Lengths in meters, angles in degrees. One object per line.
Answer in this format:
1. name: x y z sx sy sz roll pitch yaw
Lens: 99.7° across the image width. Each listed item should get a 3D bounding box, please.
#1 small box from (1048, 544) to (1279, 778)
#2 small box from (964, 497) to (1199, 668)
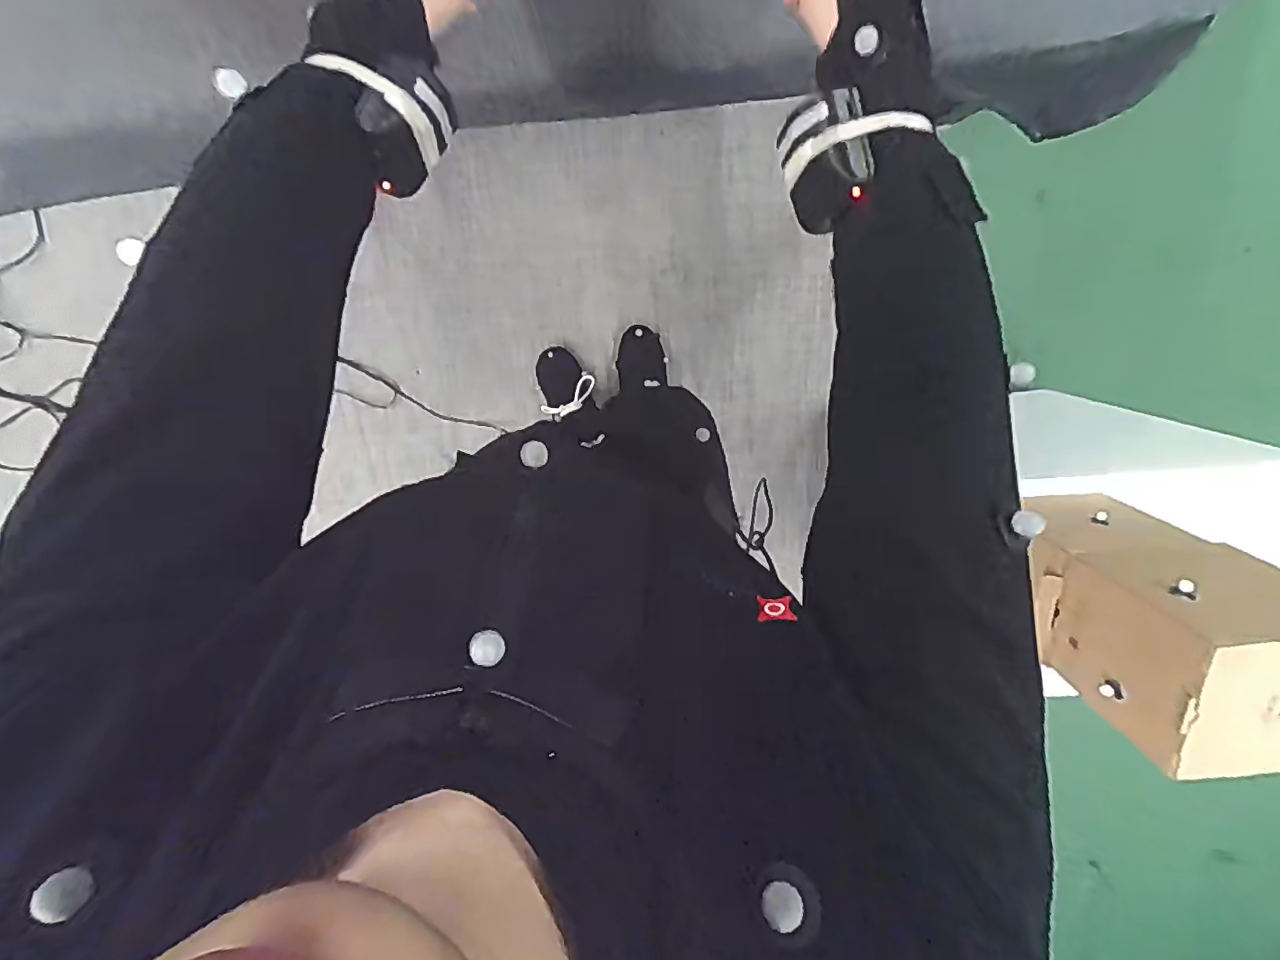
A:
1. small box: 0.591 0.184 0.584 0.179 0.176 0.168 -7 111 0
2. small box: 0.580 0.131 0.737 0.179 0.176 0.168 -4 110 0
